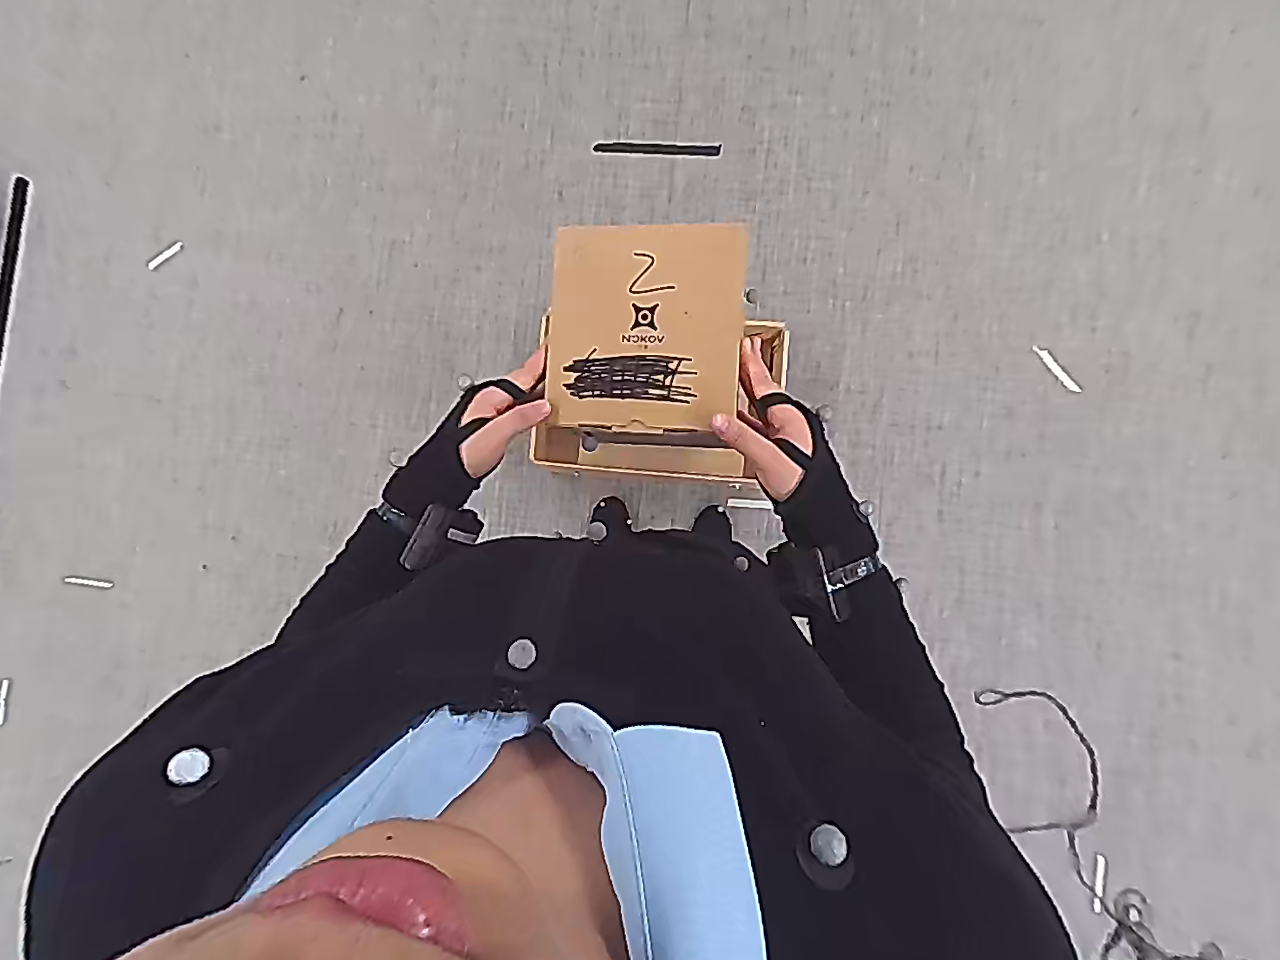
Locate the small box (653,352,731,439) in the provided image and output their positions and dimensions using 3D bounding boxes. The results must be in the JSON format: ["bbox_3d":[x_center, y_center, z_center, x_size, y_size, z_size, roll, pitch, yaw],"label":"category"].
[{"bbox_3d":[0.131,-0.210,1.385,0.168,0.176,0.179,10,89,5],"label":"small box"}]

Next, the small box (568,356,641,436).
[{"bbox_3d":[-0.086,-0.210,1.397,0.168,0.176,0.179,3,88,2],"label":"small box"}]
